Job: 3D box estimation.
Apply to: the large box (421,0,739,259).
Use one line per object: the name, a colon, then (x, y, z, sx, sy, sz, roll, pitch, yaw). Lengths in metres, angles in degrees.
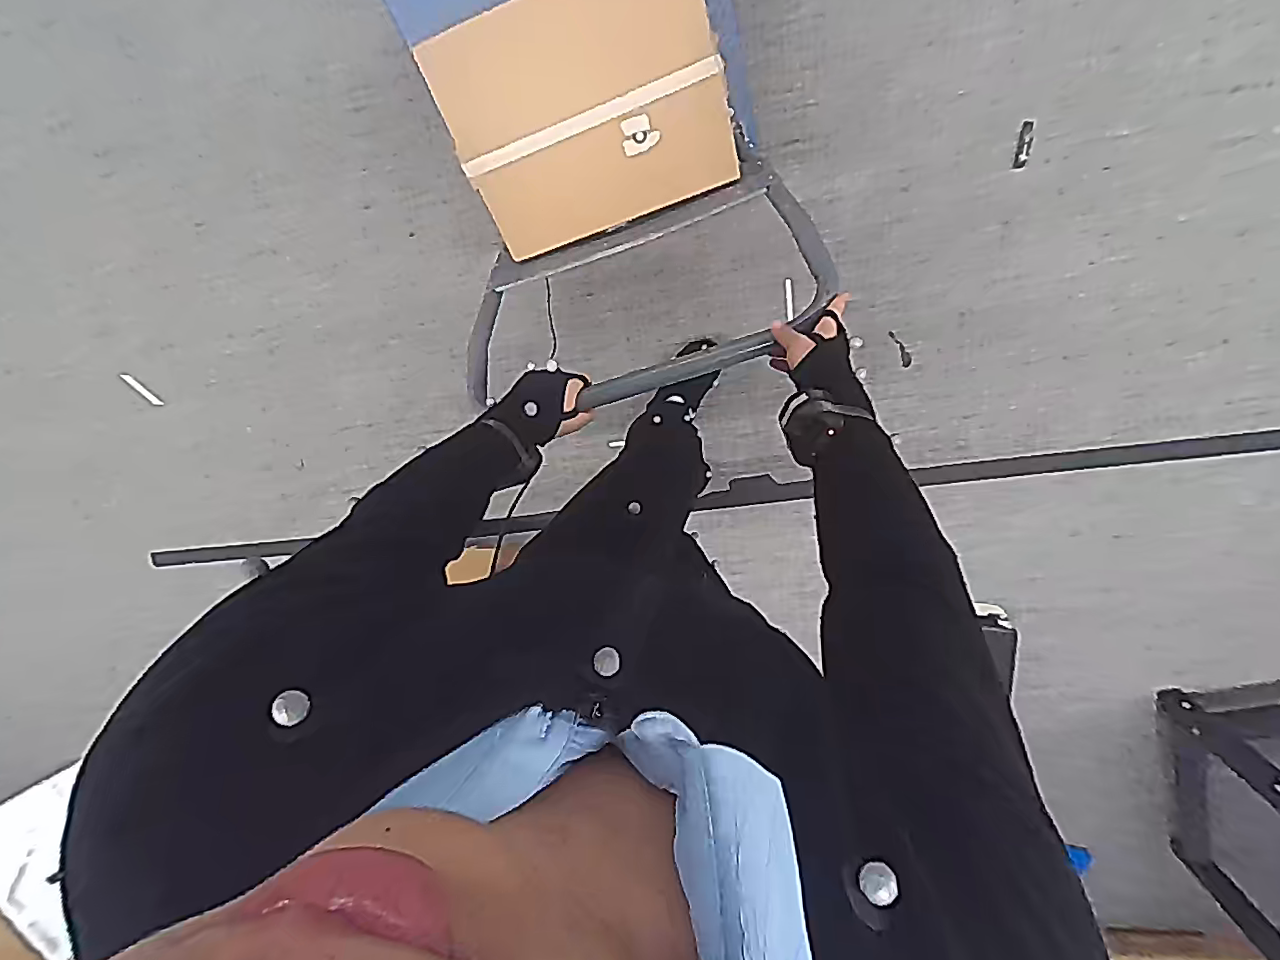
large box: (-0.084, -0.644, 0.928, 0.408, 0.320, 0.320, -17, 130, 10)
